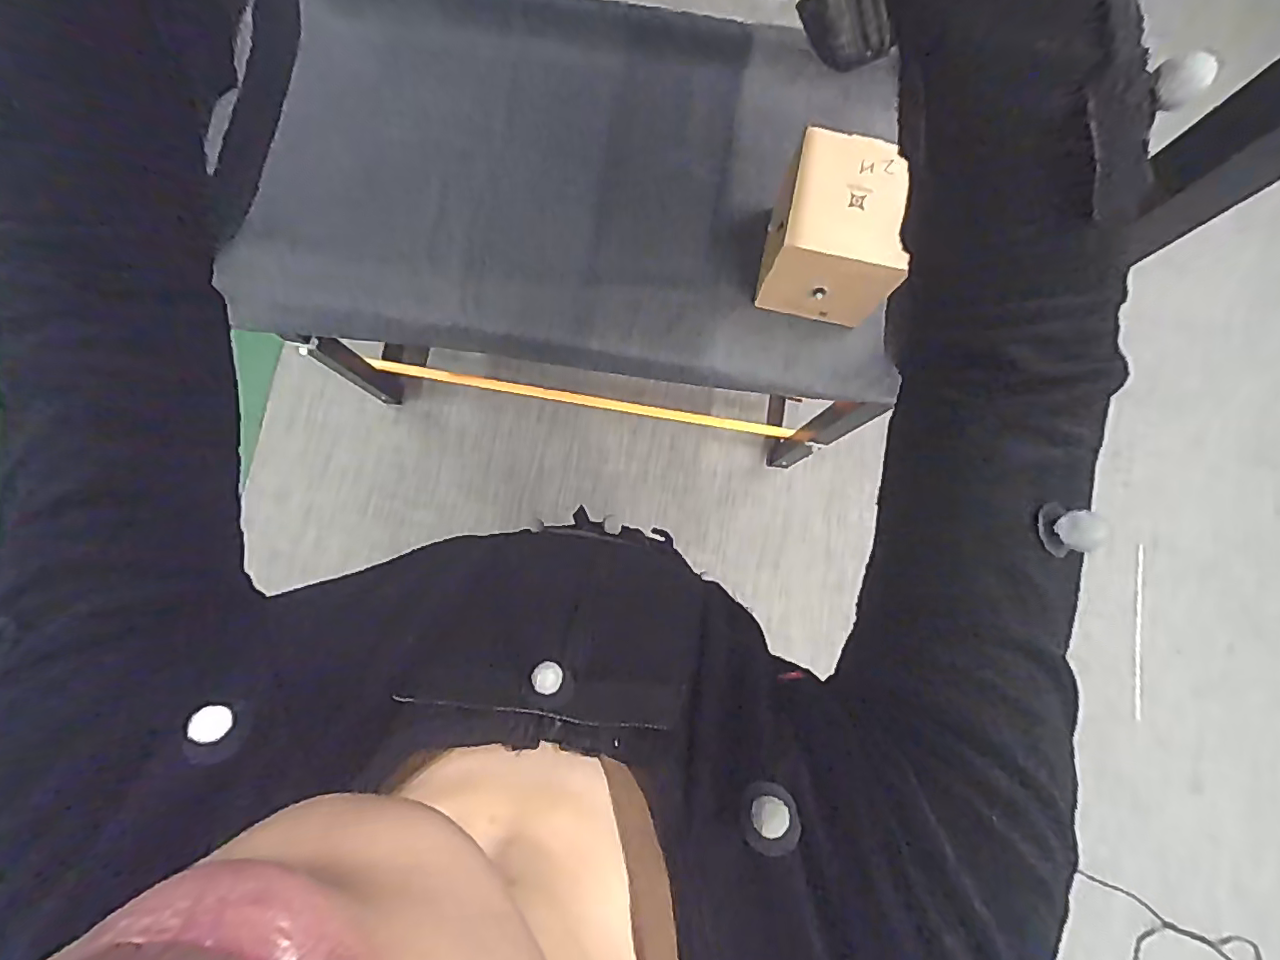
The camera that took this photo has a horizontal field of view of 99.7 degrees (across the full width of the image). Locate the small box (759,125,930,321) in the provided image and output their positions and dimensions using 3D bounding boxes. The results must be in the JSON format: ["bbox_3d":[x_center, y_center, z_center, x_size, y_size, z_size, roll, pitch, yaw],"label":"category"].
[{"bbox_3d":[0.277,-0.350,0.769,0.168,0.176,0.179,13,81,0],"label":"small box"}]
